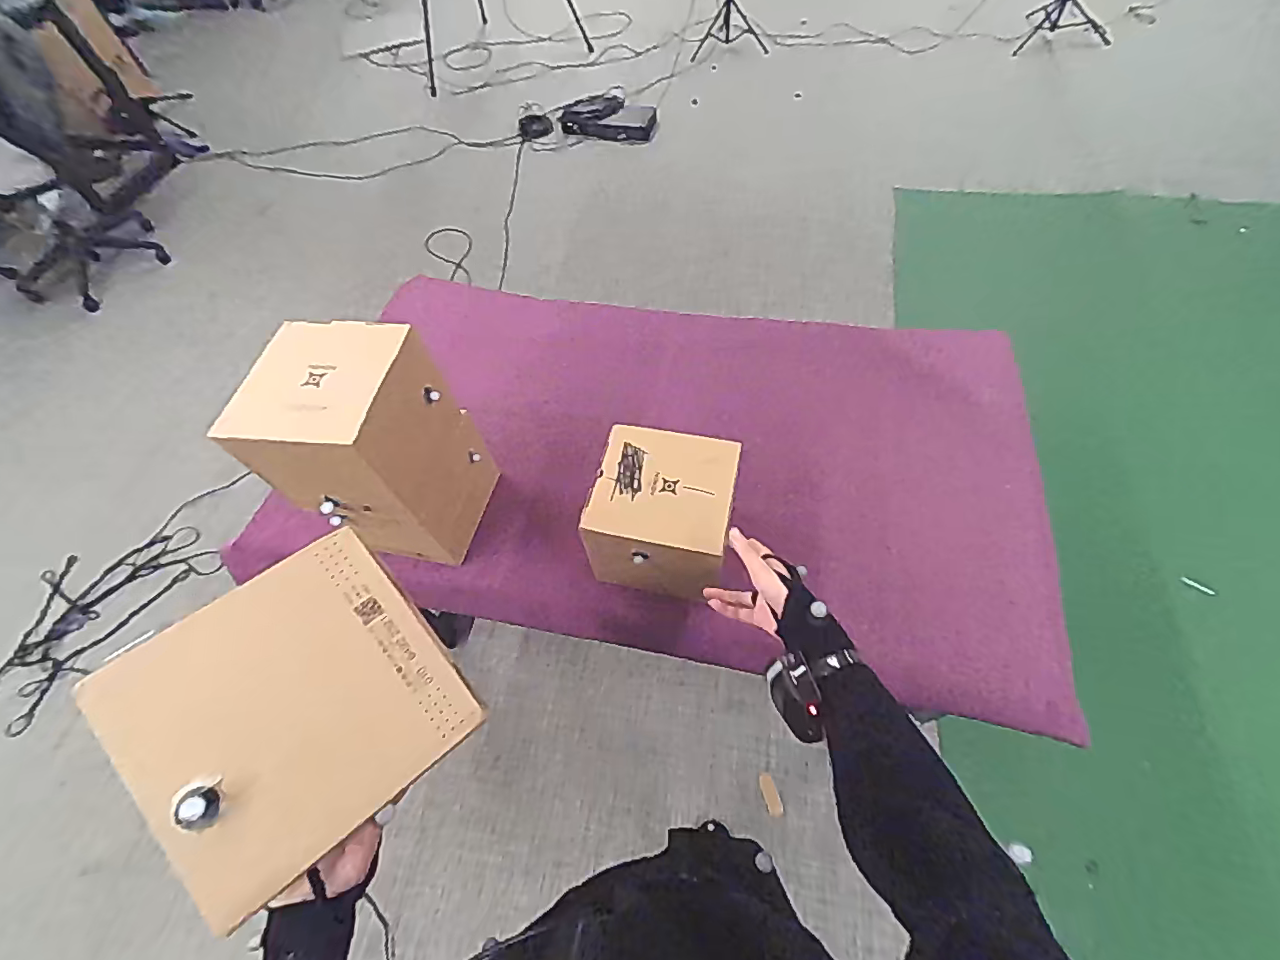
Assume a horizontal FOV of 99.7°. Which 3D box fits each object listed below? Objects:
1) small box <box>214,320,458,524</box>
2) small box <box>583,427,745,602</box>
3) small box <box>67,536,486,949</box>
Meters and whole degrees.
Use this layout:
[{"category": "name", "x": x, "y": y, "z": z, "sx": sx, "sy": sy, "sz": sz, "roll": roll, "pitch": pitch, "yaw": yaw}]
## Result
[{"category": "small box", "x": -0.340, "y": -0.068, "z": 0.653, "sx": 0.168, "sy": 0.176, "sz": 0.179, "roll": 4, "pitch": 58, "yaw": 8}, {"category": "small box", "x": 0.038, "y": 0.052, "z": 0.740, "sx": 0.179, "sy": 0.176, "sz": 0.168, "roll": 10, "pitch": 59, "yaw": 10}, {"category": "small box", "x": -0.228, "y": 0.167, "z": 0.398, "sx": 0.176, "sy": 0.179, "sz": 0.168, "roll": -36, "pitch": 81, "yaw": -24}]
